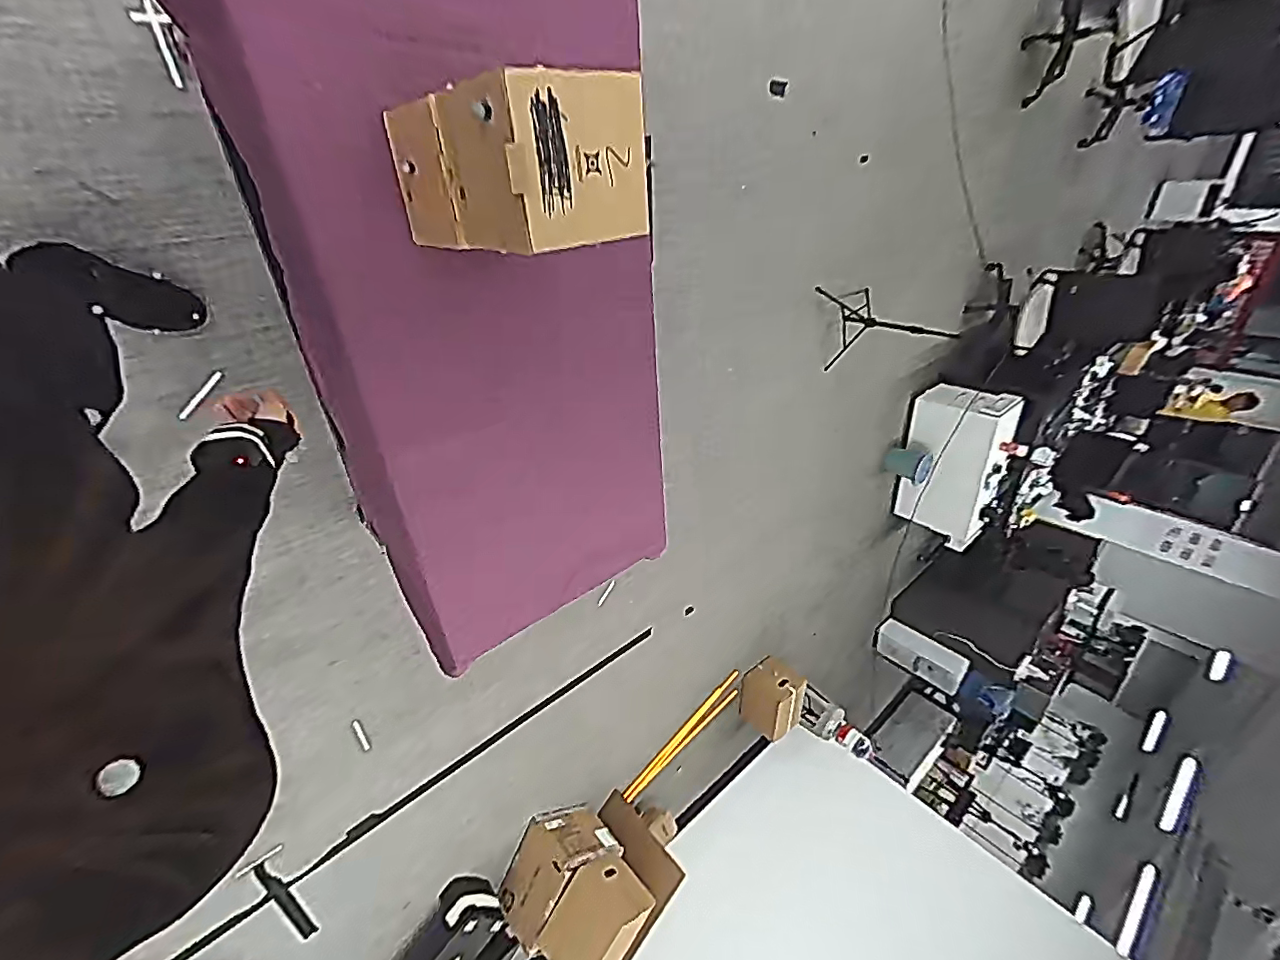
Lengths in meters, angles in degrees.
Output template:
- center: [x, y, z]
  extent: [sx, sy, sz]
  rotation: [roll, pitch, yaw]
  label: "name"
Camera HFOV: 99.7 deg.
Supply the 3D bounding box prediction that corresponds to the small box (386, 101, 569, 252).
- center: [-0.226, -0.427, 0.765]
  extent: [0.179, 0.176, 0.168]
  rotation: [-26, 126, -32]
  label: "small box"
